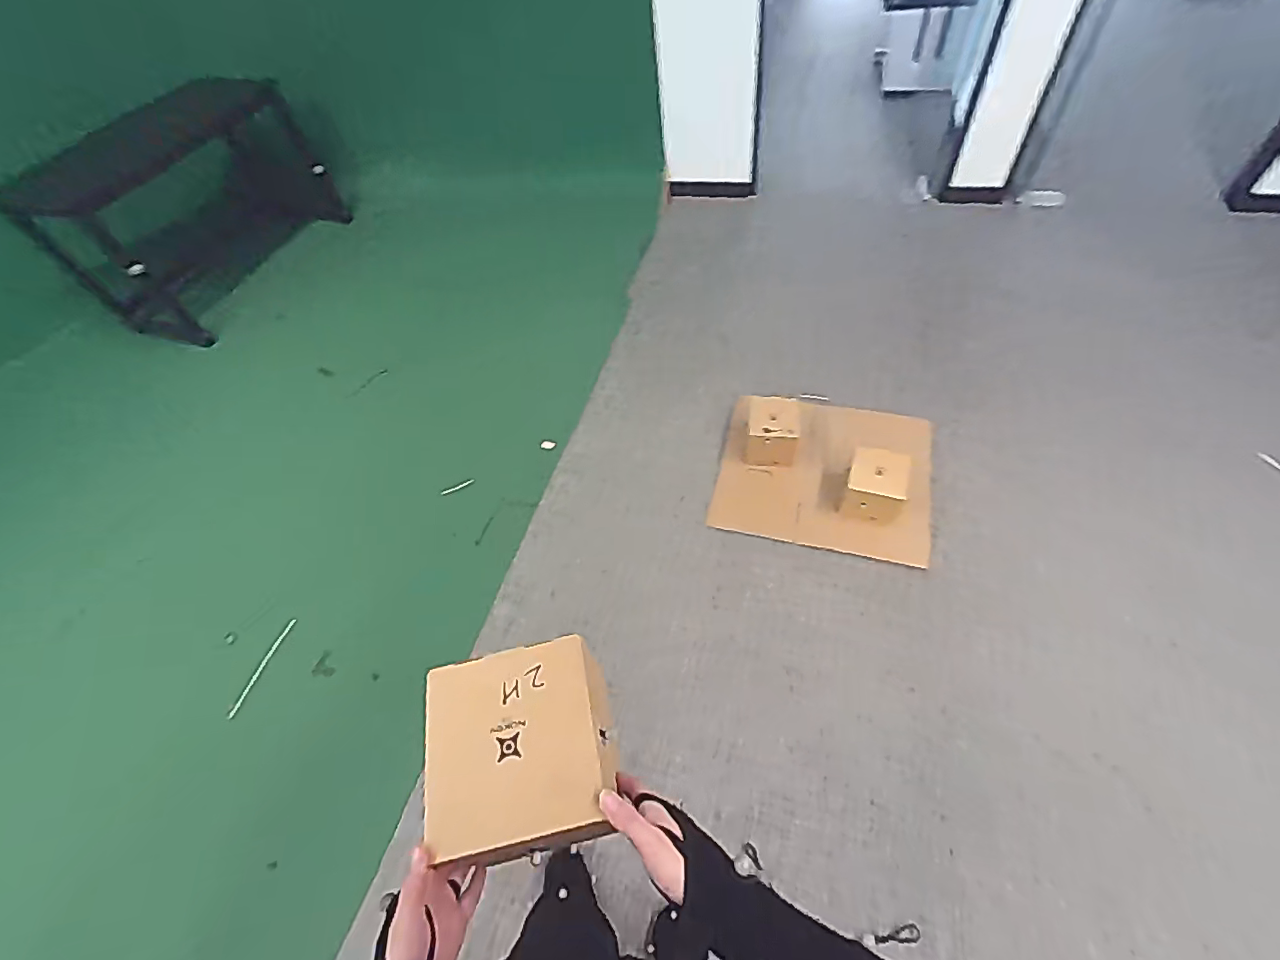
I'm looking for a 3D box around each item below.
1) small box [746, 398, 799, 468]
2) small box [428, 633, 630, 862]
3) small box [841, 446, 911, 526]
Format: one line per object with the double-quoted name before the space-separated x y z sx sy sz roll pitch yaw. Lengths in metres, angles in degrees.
"small box" 0.459 -0.164 1.880 0.168 0.176 0.179 3 55 10
"small box" -0.111 0.291 0.582 0.168 0.176 0.179 -12 53 -2
"small box" 0.739 0.021 1.706 0.168 0.176 0.179 12 57 17
